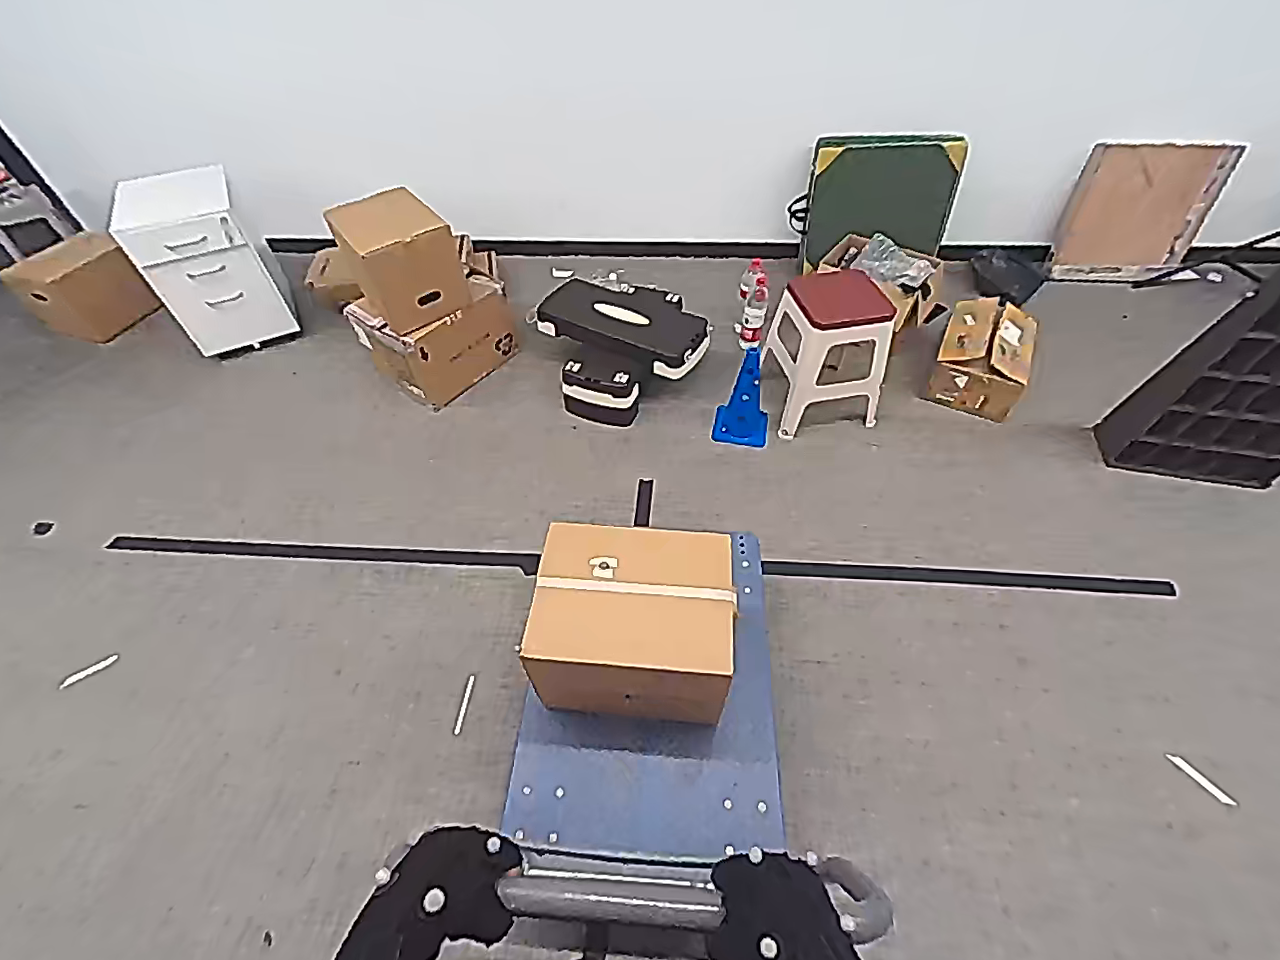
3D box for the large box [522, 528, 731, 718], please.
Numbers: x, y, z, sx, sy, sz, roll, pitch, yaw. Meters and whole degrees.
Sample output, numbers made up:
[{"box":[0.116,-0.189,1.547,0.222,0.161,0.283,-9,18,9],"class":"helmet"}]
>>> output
[{"box":[-0.010,0.326,1.222,0.408,0.320,0.320,3,50,5],"class":"large box"}]
